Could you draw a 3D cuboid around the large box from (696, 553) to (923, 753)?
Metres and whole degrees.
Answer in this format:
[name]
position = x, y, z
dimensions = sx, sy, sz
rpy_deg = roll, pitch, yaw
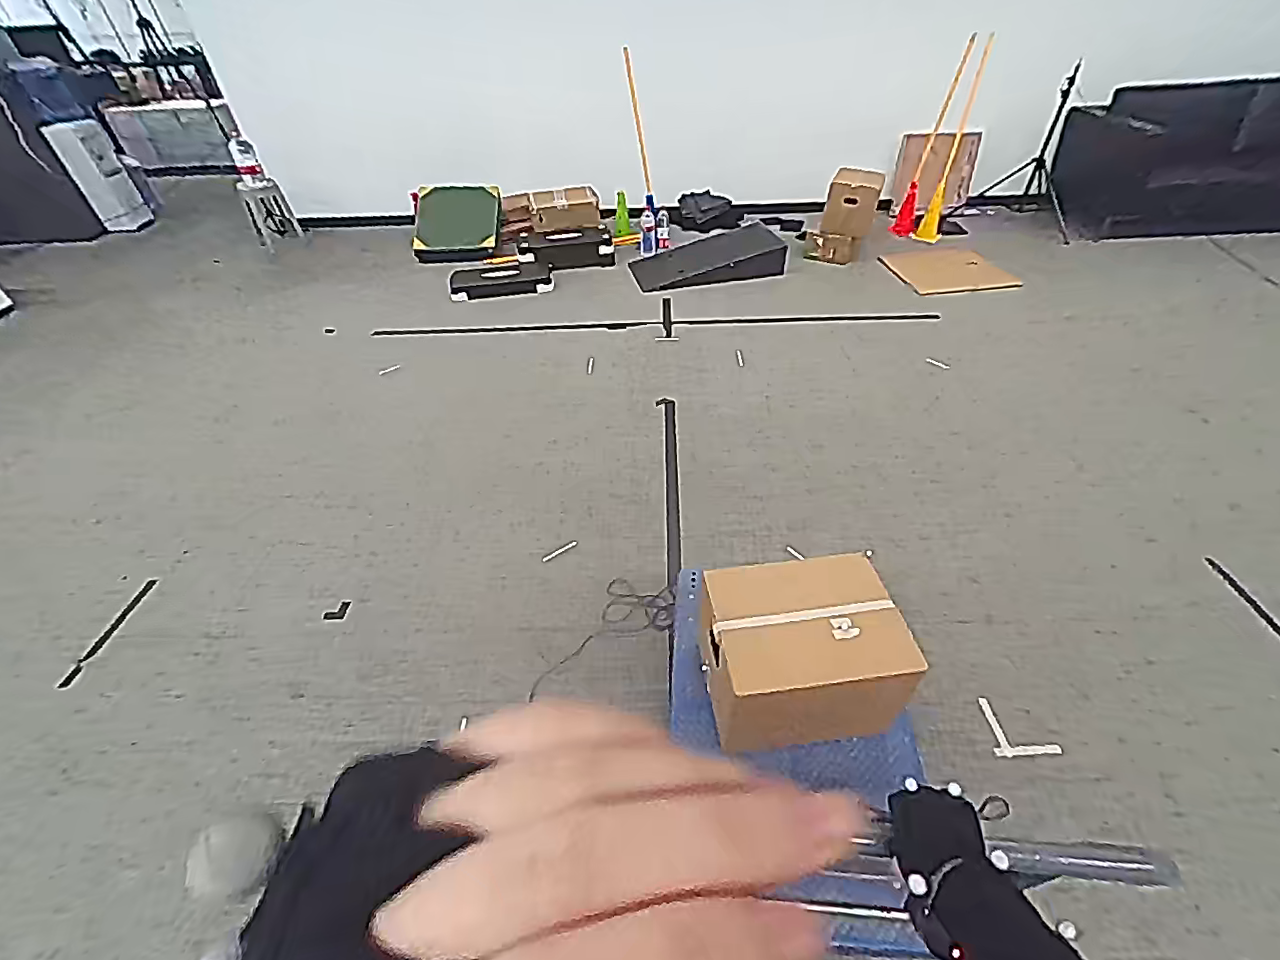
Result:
[large box]
position = 0.365, 0.410, 1.289
dimensions = 0.408, 0.320, 0.320
rpy_deg = -6, 43, -5
